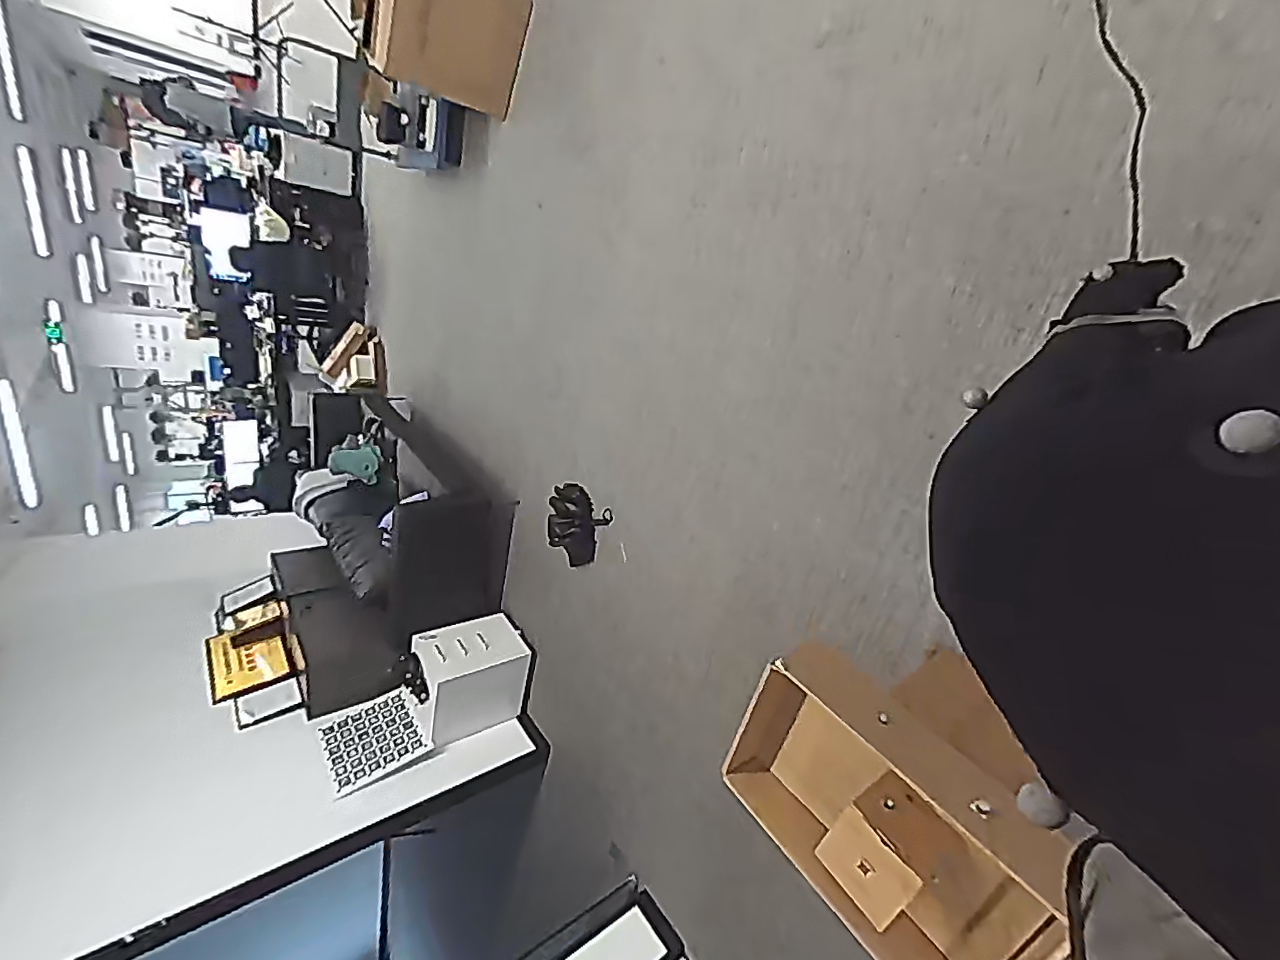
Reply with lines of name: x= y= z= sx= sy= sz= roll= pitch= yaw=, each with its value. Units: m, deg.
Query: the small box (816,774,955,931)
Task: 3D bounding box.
small box: x=0.495 y=0.735 z=1.086 sx=0.168 sy=0.176 sz=0.179 roll=41 pitch=127 yaw=42
